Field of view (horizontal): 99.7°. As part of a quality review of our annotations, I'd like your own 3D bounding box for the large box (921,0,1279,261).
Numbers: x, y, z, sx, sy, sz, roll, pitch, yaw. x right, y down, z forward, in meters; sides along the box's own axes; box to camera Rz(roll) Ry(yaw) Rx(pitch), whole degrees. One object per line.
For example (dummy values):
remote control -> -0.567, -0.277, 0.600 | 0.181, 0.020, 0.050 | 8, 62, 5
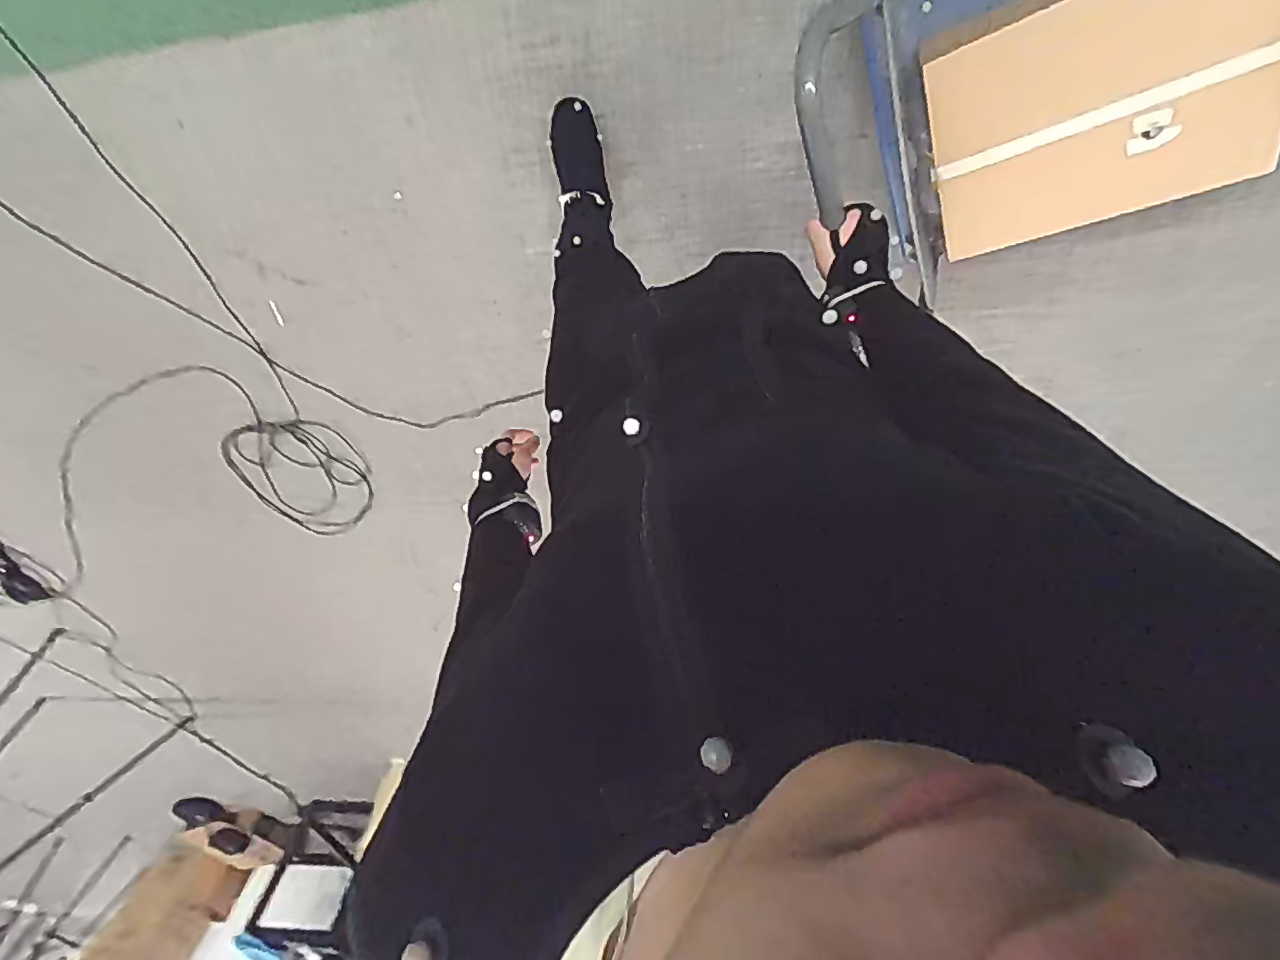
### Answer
large box -> 0.709, -0.619, 0.883 | 0.408, 0.320, 0.320 | -8, 126, 31
